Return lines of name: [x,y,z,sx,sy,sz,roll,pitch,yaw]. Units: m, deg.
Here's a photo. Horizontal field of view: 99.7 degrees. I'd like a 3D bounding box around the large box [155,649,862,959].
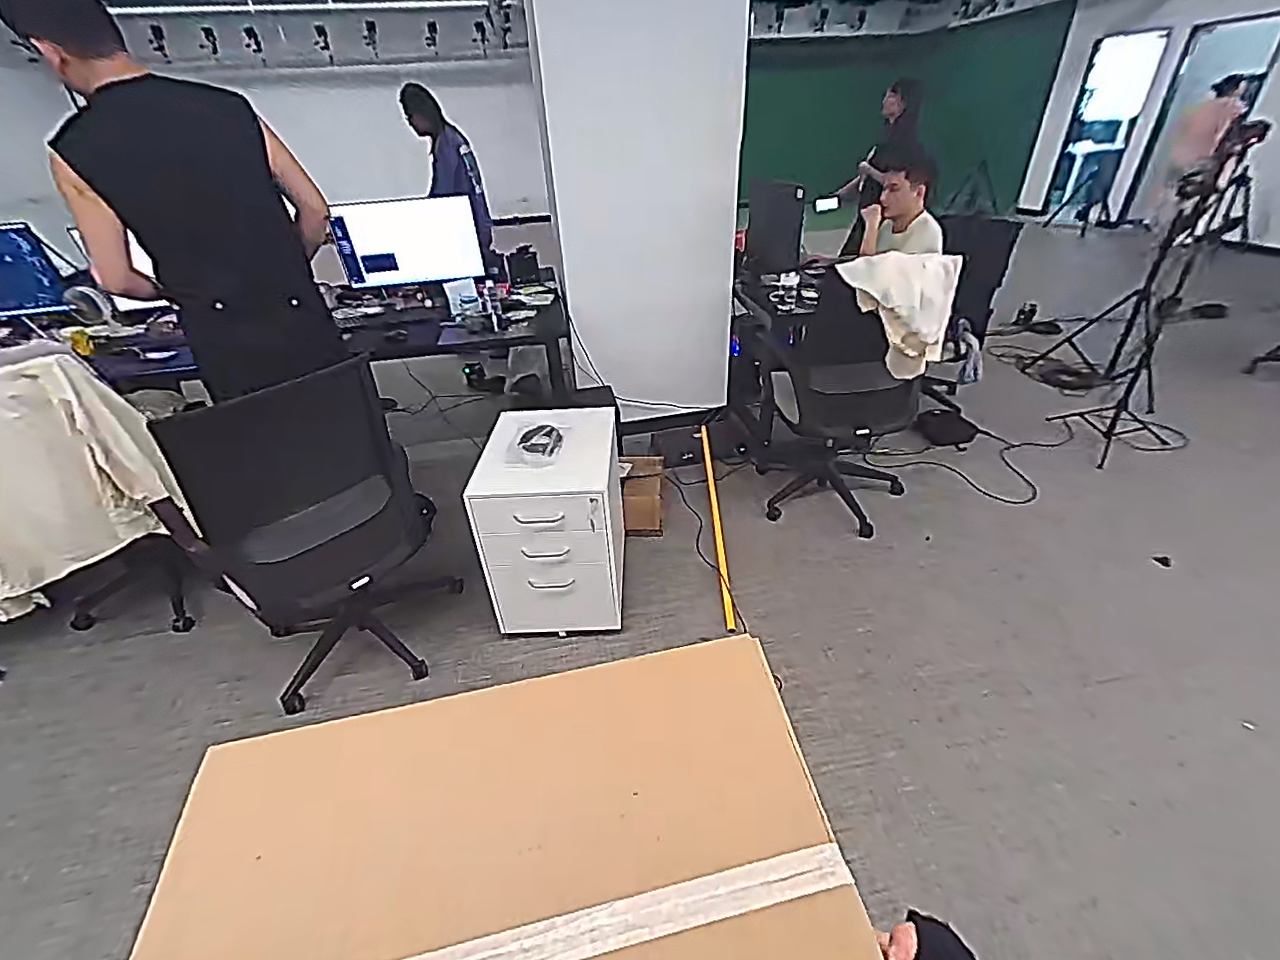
large box: [-0.070,0.378,0.412,0.408,0.320,0.320,-10,45,-7]
